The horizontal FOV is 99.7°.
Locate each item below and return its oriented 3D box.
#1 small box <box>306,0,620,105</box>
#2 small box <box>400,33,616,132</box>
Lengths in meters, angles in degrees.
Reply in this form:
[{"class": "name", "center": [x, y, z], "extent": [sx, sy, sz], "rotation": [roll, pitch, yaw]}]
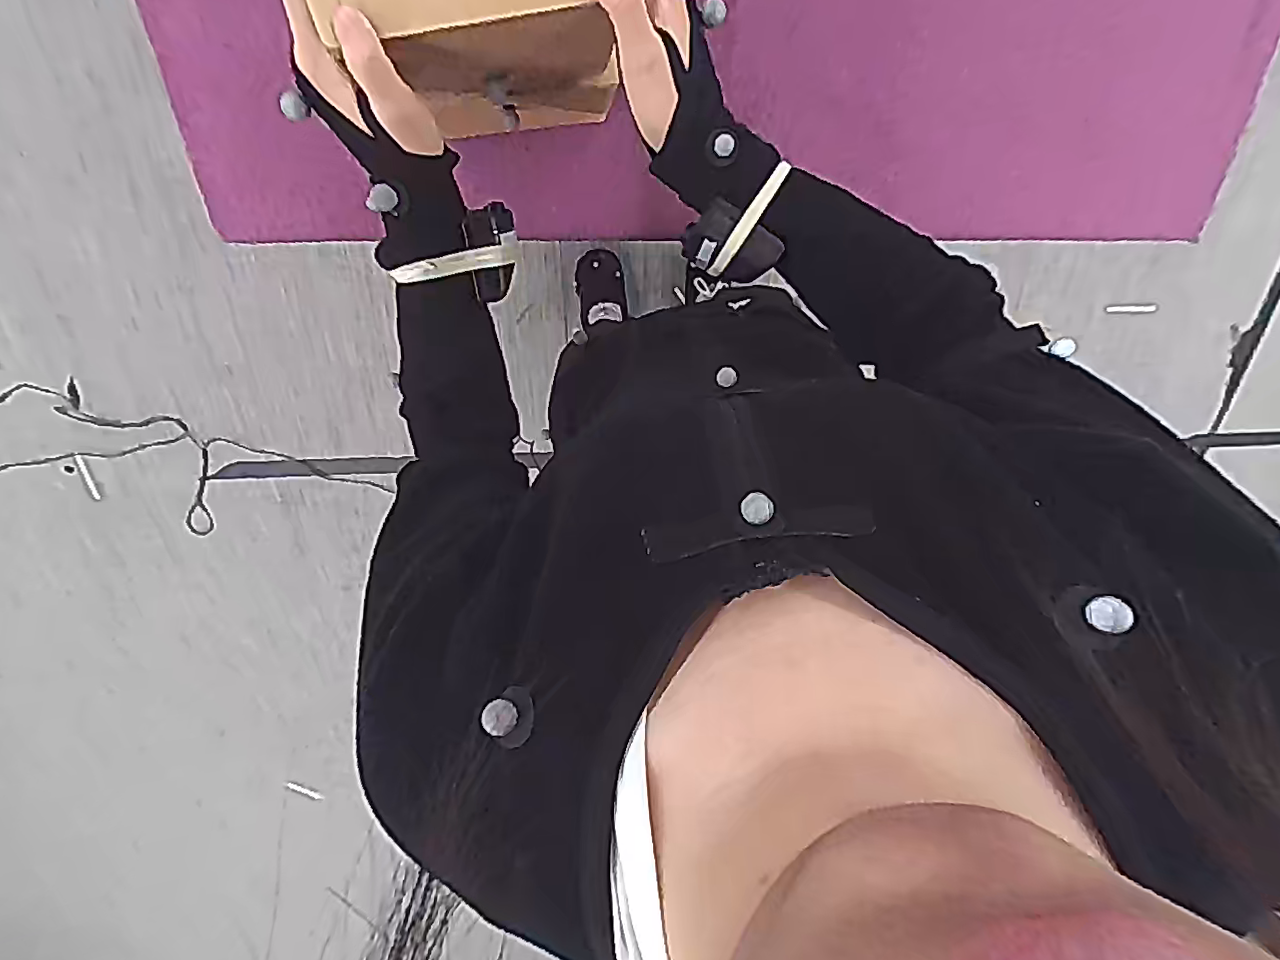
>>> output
[{"class": "small box", "center": [-0.112, -0.356, 0.324], "extent": [0.168, 0.176, 0.179], "rotation": [-11, 117, -1]}, {"class": "small box", "center": [-0.122, -0.420, 0.476], "extent": [0.179, 0.176, 0.168], "rotation": [-8, 116, -3]}]
